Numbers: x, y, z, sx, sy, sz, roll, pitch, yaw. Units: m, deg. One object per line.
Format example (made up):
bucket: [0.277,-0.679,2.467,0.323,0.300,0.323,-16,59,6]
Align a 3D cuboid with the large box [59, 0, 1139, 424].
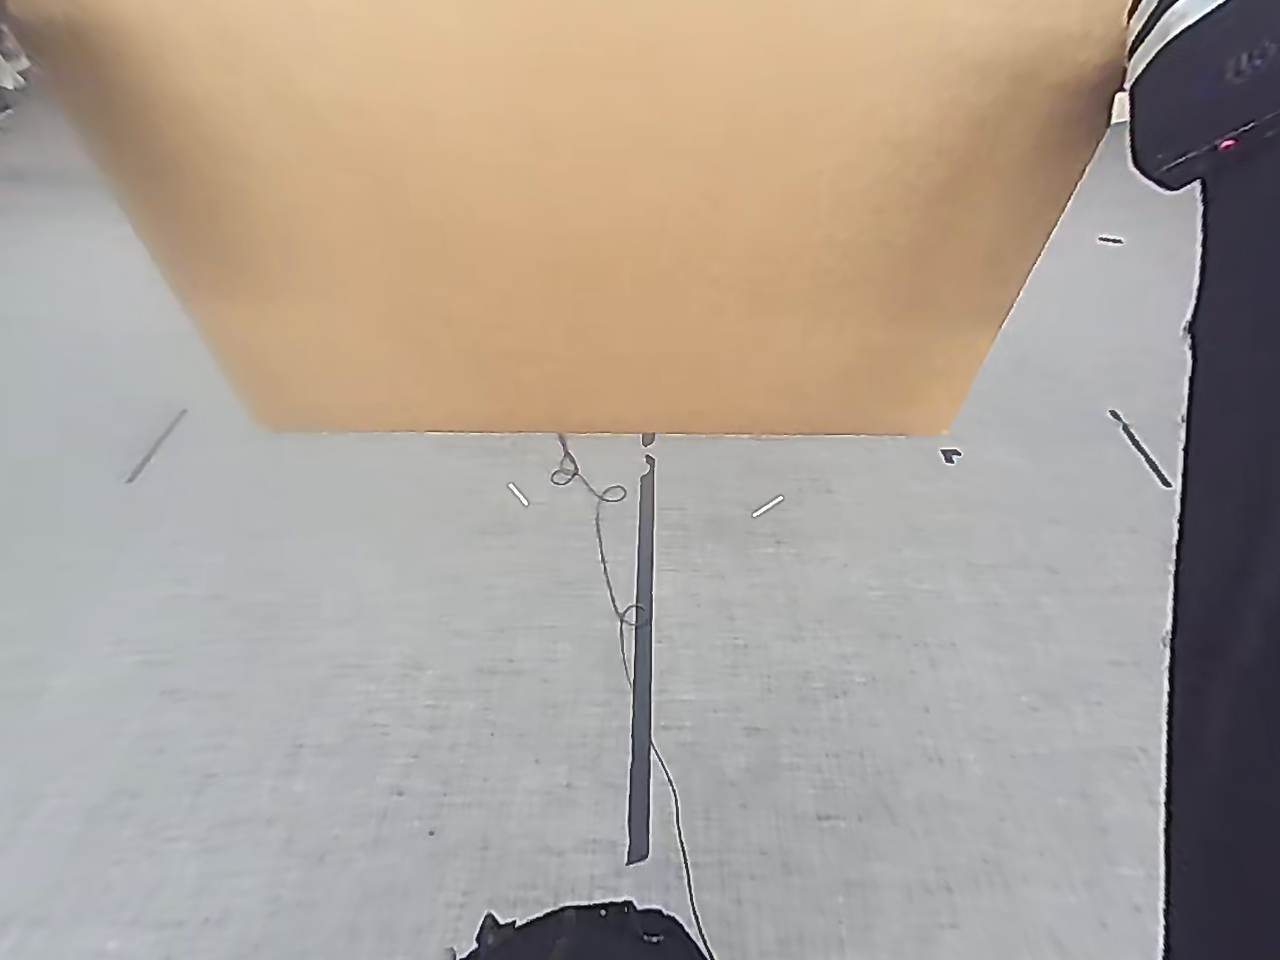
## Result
large box: [-0.017,-0.244,0.332,0.408,0.320,0.320,1,45,-2]
